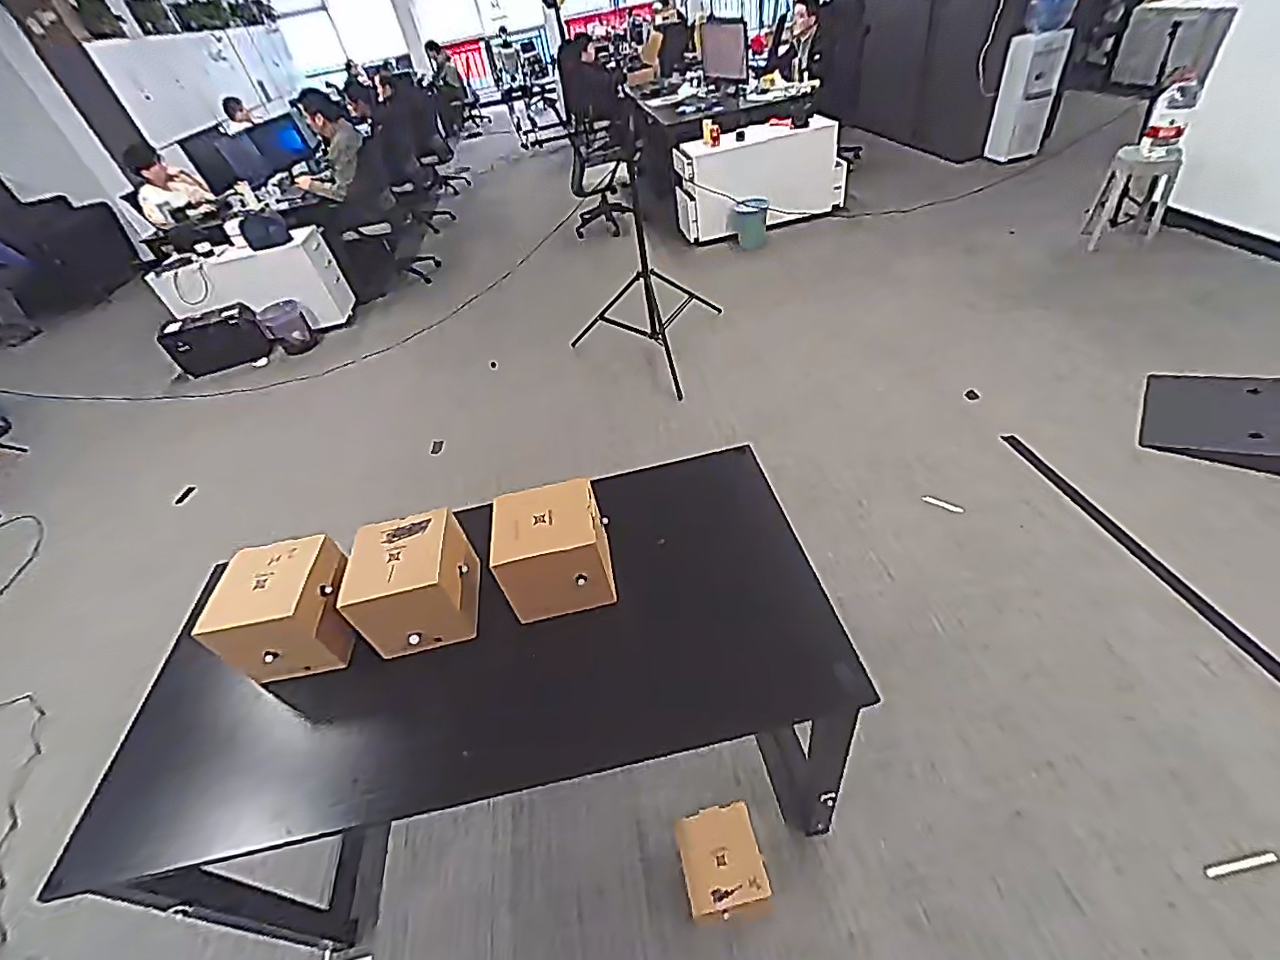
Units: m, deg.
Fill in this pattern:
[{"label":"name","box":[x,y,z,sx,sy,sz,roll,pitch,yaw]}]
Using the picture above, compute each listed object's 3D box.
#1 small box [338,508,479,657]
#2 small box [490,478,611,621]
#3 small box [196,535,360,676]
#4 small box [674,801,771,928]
[{"label":"small box","box":[-0.395,0.181,0.958,0.168,0.176,0.179,-14,44,-2]},{"label":"small box","box":[-0.153,0.126,0.965,0.179,0.176,0.168,-14,41,0]},{"label":"small box","box":[-0.614,0.228,0.959,0.168,0.176,0.179,-10,42,0]},{"label":"small box","box":[0.180,0.847,1.192,0.168,0.176,0.179,-14,42,-1]}]
